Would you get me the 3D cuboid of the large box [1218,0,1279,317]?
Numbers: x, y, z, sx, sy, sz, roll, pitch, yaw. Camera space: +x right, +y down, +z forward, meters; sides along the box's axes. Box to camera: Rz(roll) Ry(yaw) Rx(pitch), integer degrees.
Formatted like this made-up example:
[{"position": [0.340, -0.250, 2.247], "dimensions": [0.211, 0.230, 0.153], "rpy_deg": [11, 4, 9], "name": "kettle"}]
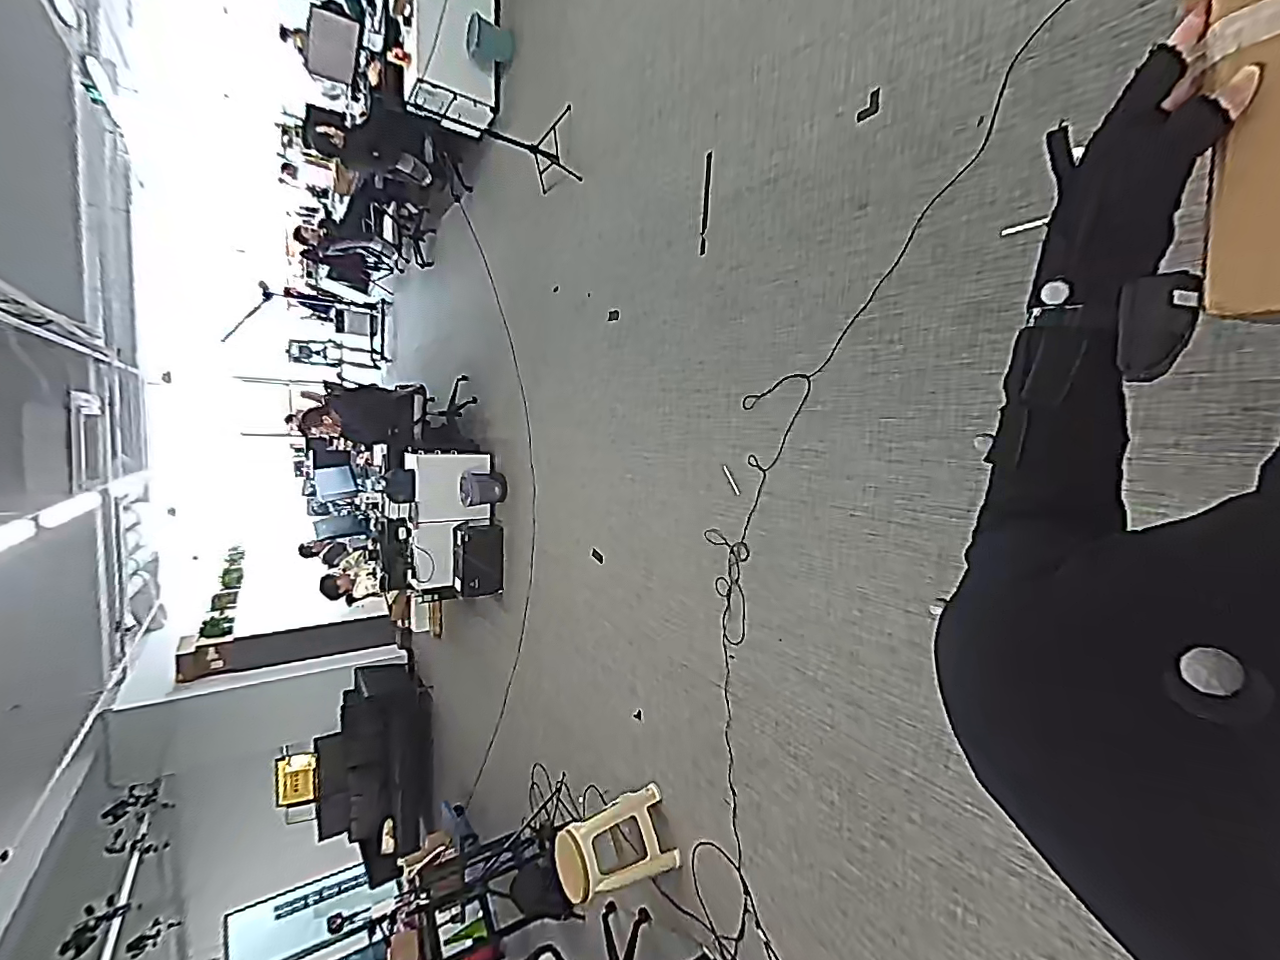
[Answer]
[{"position": [0.575, -0.268, 0.243], "dimensions": [0.408, 0.320, 0.320], "rpy_deg": [6, 105, 52], "name": "large box"}]
